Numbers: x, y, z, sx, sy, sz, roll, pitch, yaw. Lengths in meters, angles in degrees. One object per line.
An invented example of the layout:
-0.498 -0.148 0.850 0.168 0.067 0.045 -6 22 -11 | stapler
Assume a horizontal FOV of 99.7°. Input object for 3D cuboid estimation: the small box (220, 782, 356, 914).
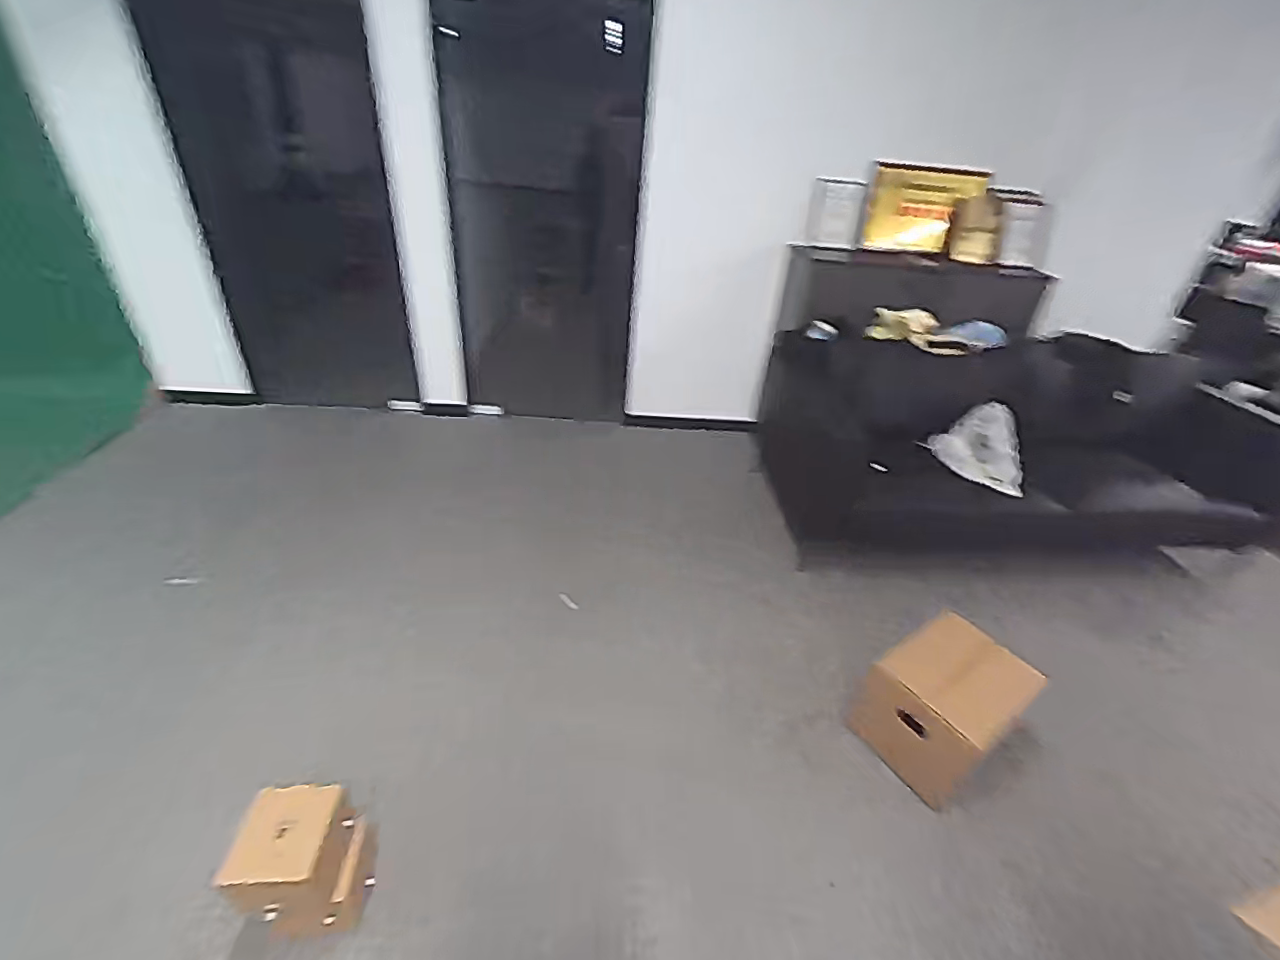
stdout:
-0.704 0.752 1.109 0.168 0.176 0.179 2 34 -6 | small box
